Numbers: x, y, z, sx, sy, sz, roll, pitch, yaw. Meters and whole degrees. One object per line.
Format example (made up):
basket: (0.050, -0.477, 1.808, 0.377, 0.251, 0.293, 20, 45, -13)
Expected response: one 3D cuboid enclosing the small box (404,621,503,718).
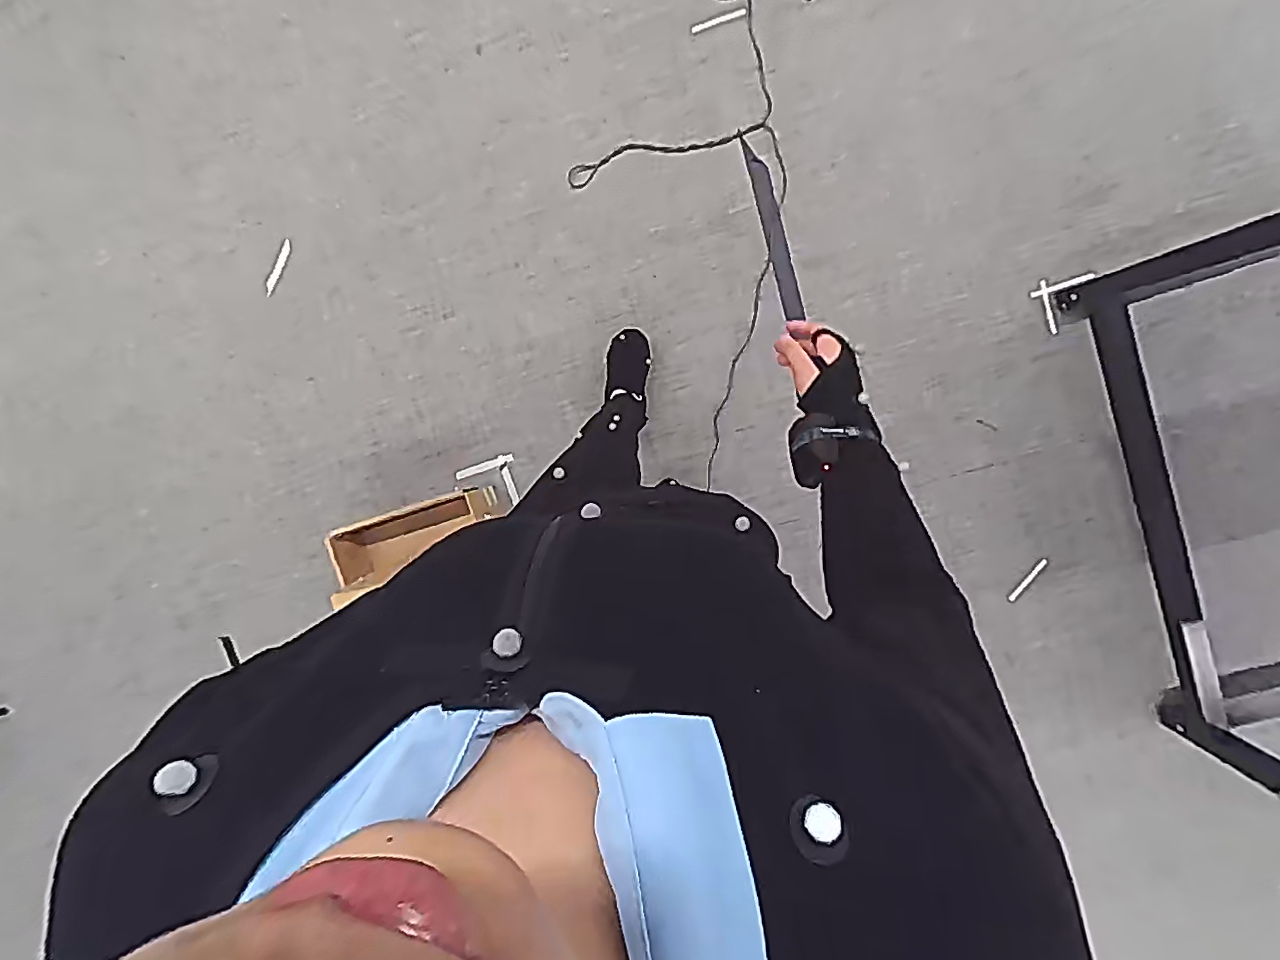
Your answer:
small box: (-0.481, 0.494, 1.432, 0.179, 0.176, 0.168, -19, 91, 6)
